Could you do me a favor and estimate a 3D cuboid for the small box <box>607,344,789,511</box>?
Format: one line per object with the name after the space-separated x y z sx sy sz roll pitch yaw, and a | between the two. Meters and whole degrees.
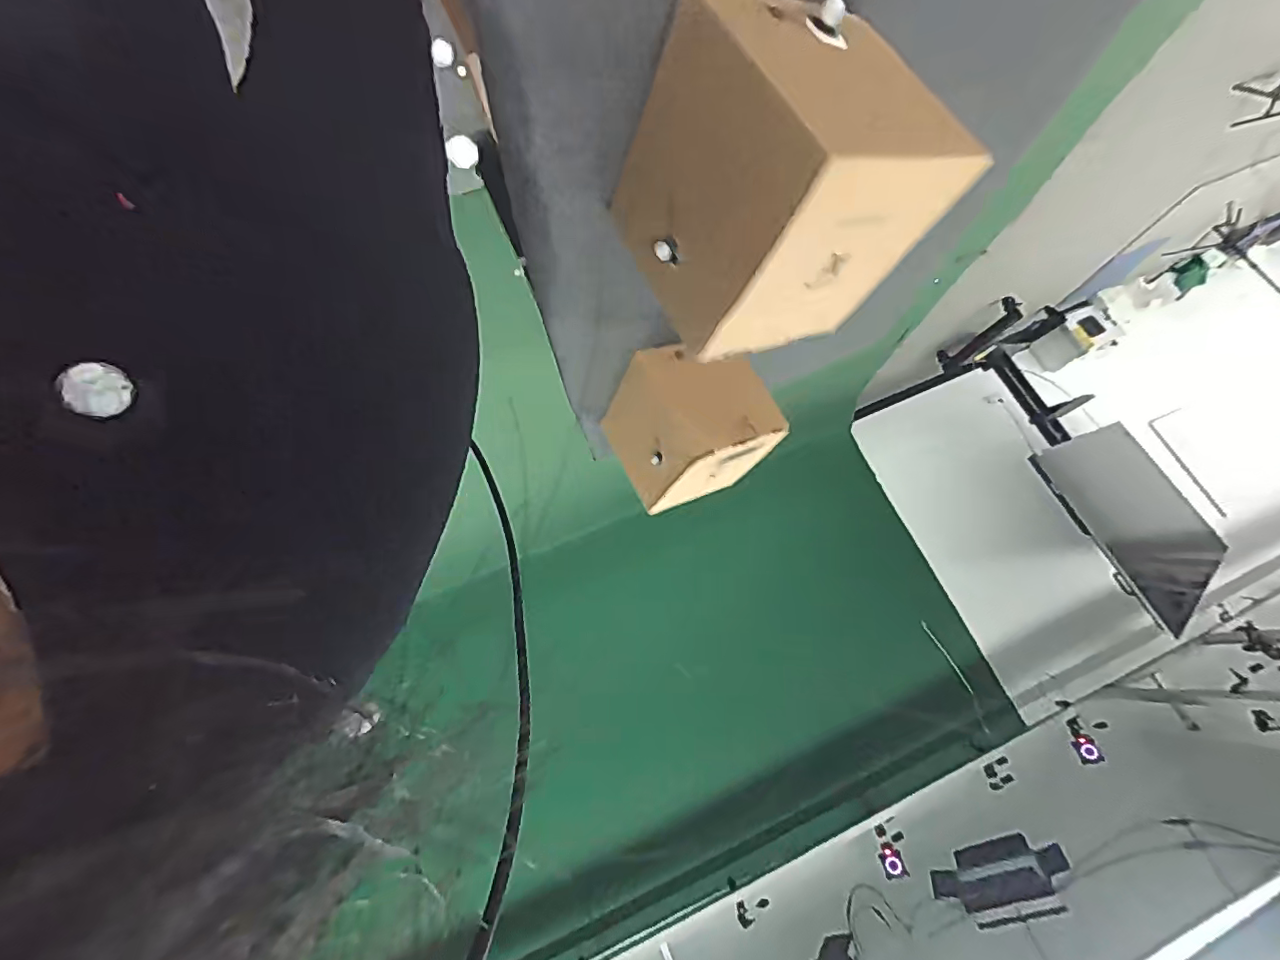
0.071 -0.084 0.781 0.168 0.176 0.179 -18 161 -29 | small box

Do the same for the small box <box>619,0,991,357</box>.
0.103 -0.225 0.411 0.168 0.176 0.179 -19 162 -28 | small box

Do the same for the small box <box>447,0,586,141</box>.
-0.214 -0.743 0.934 0.179 0.176 0.168 -24 164 -3 | small box
